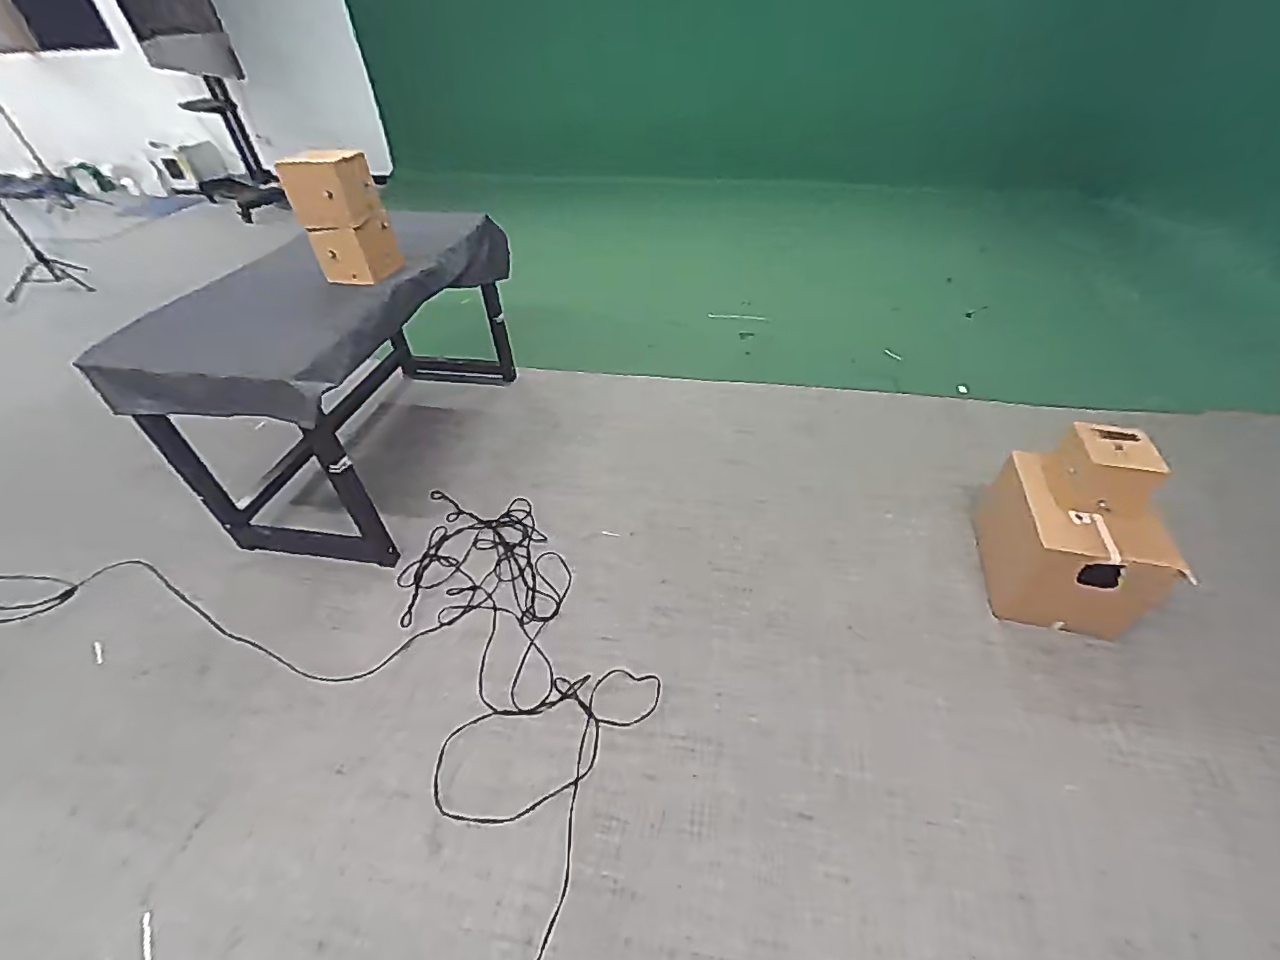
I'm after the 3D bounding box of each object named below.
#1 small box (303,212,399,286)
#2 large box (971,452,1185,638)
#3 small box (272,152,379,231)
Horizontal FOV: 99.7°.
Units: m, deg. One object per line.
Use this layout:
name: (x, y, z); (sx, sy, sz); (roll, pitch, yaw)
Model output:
small box: (-0.872, -0.707, 1.656); (0.168, 0.176, 0.179); (6, 43, 11)
large box: (1.210, 0.178, 1.561); (0.320, 0.320, 0.408); (8, 45, 13)
small box: (-0.883, -0.821, 1.540); (0.179, 0.176, 0.168); (1, 41, 7)
